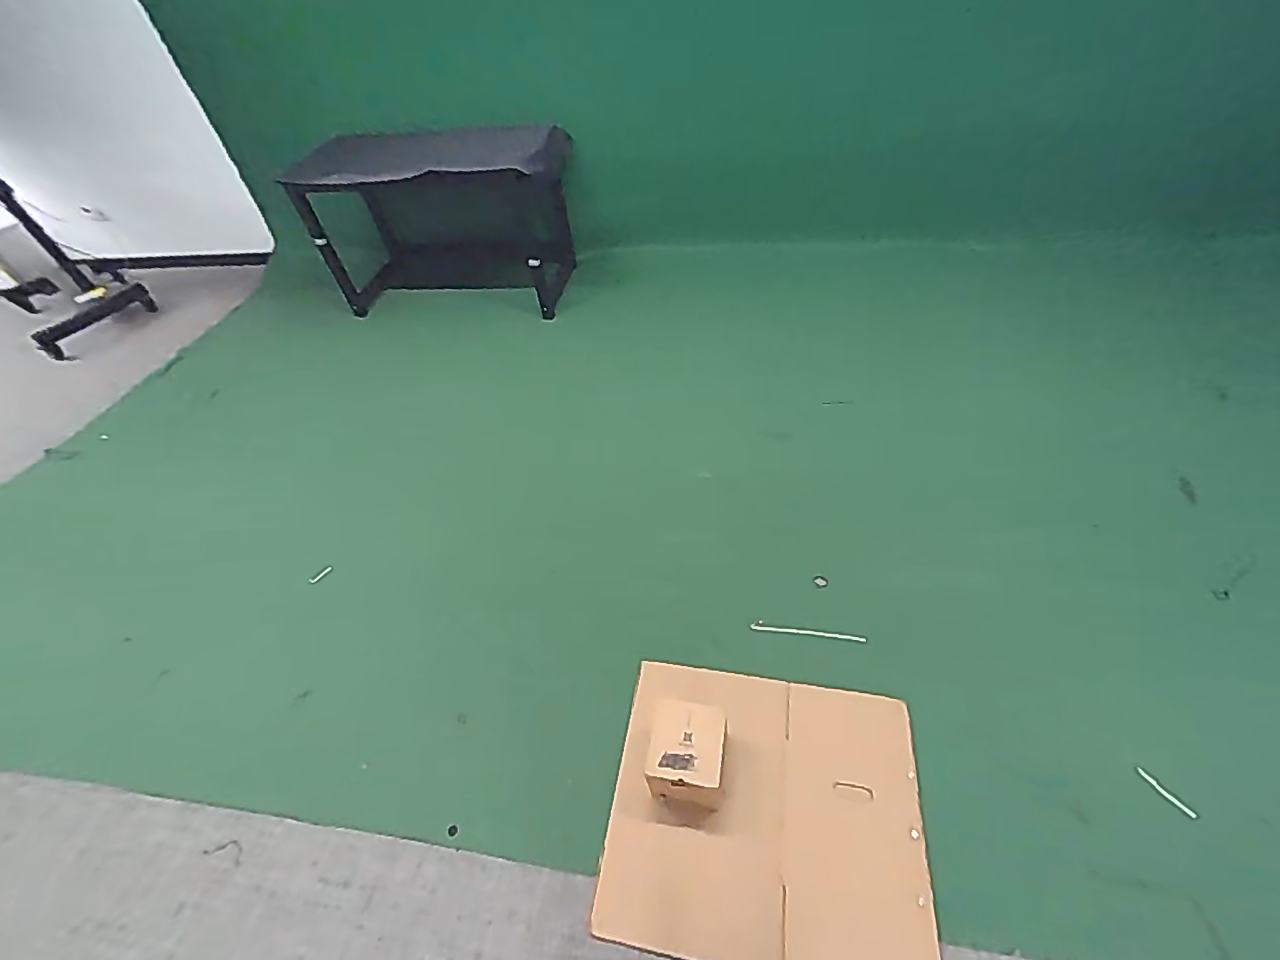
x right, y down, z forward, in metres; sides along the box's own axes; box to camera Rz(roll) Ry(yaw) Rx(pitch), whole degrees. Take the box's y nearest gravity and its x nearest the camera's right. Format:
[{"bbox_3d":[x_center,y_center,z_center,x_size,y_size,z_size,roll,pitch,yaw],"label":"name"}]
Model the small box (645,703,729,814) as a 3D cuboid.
[{"bbox_3d":[0.117,0.654,1.266,0.168,0.176,0.179,5,46,13],"label":"small box"}]
